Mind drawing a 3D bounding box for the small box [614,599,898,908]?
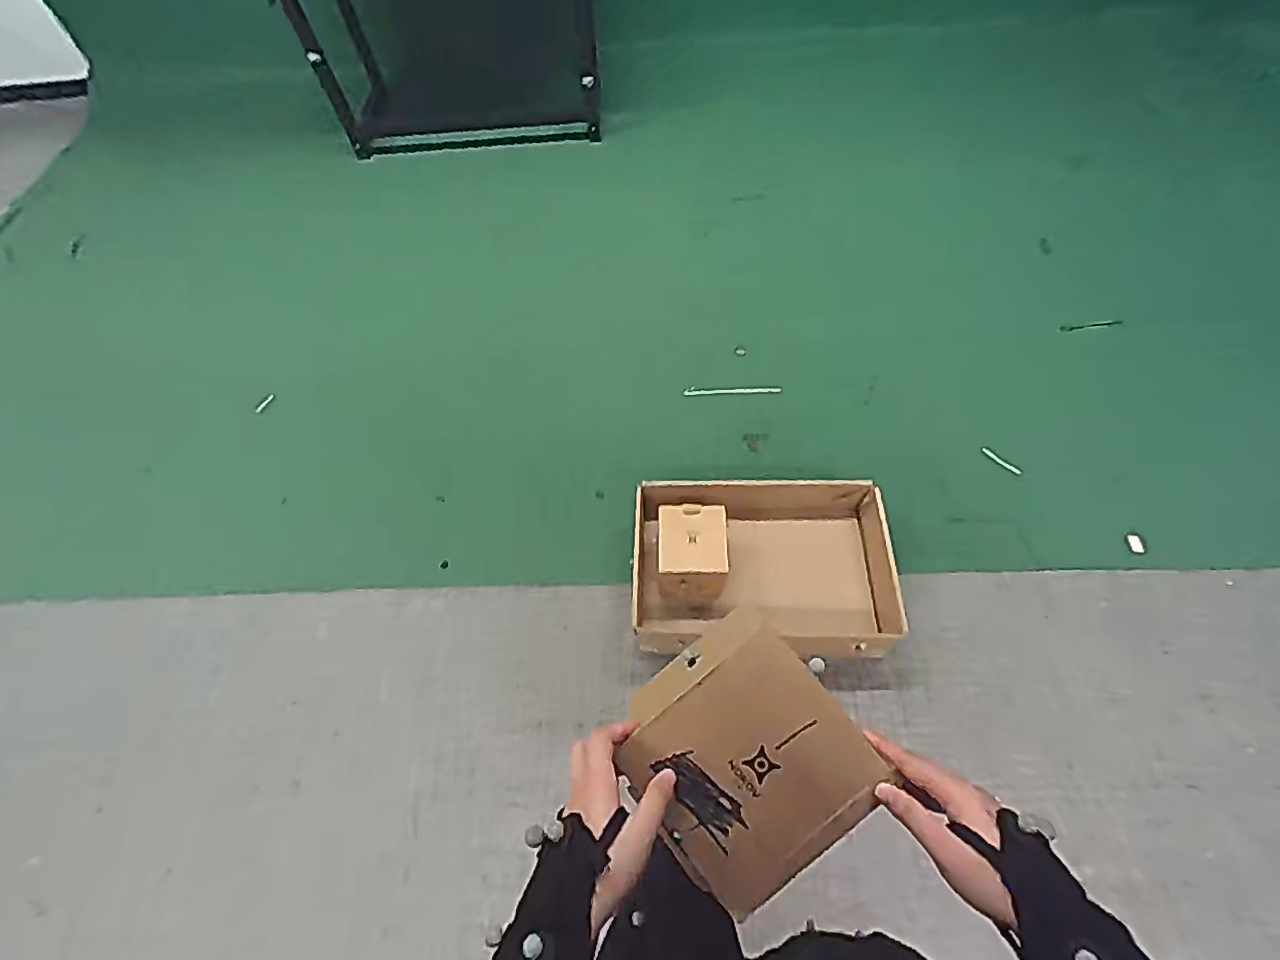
[{"bbox_3d":[0.101,0.238,0.522,0.179,0.176,0.168,-39,83,1],"label":"small box"}]

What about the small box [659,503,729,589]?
[{"bbox_3d":[0.135,0.172,1.369,0.168,0.176,0.179,-1,62,3],"label":"small box"}]
